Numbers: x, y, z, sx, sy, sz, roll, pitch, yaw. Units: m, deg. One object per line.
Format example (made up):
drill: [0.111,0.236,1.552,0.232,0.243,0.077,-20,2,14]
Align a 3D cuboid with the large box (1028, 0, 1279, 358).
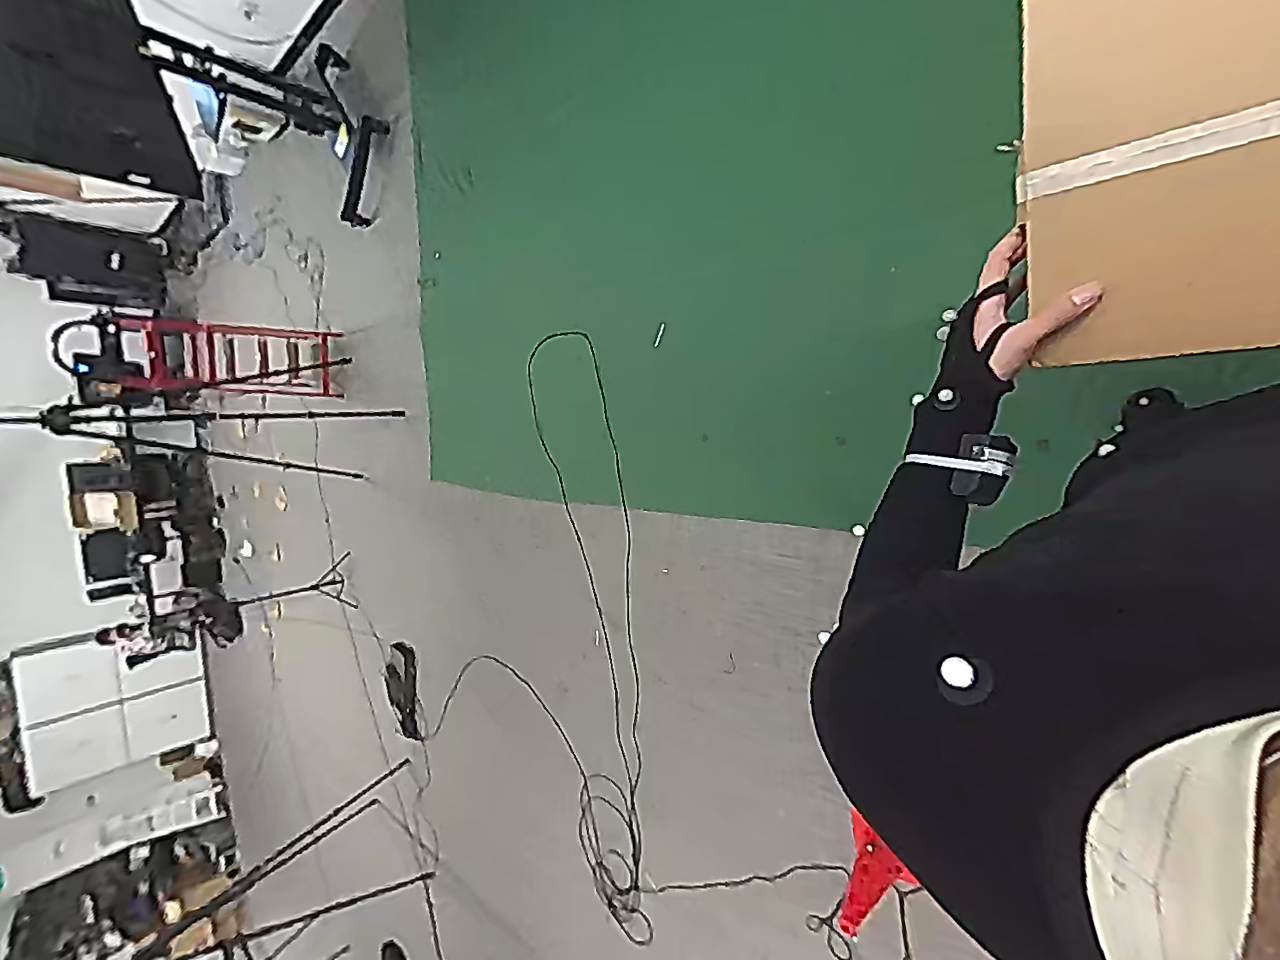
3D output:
large box: [0.580,-0.302,0.441,0.408,0.320,0.320,0,109,41]
